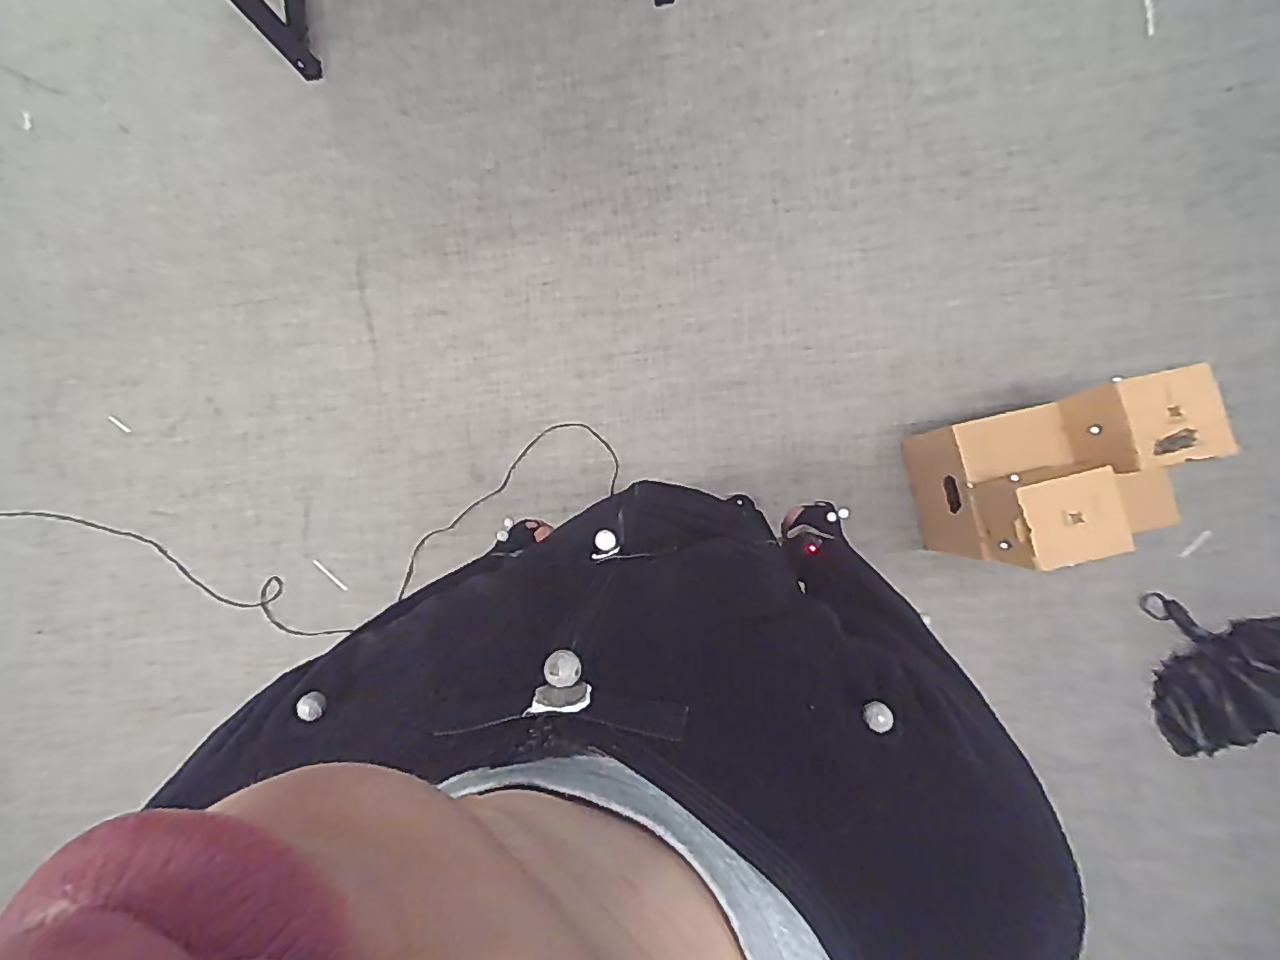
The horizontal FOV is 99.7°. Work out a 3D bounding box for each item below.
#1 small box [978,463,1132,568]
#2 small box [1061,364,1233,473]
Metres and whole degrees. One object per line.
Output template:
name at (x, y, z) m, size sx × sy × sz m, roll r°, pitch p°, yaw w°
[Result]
small box at (0.816, 0.068, 1.089) m, size 0.179 × 0.176 × 0.168 m, roll -15°, pitch 90°, yaw 4°
small box at (0.992, -0.111, 1.074) m, size 0.168 × 0.176 × 0.179 m, roll -11°, pitch 84°, yaw 6°
